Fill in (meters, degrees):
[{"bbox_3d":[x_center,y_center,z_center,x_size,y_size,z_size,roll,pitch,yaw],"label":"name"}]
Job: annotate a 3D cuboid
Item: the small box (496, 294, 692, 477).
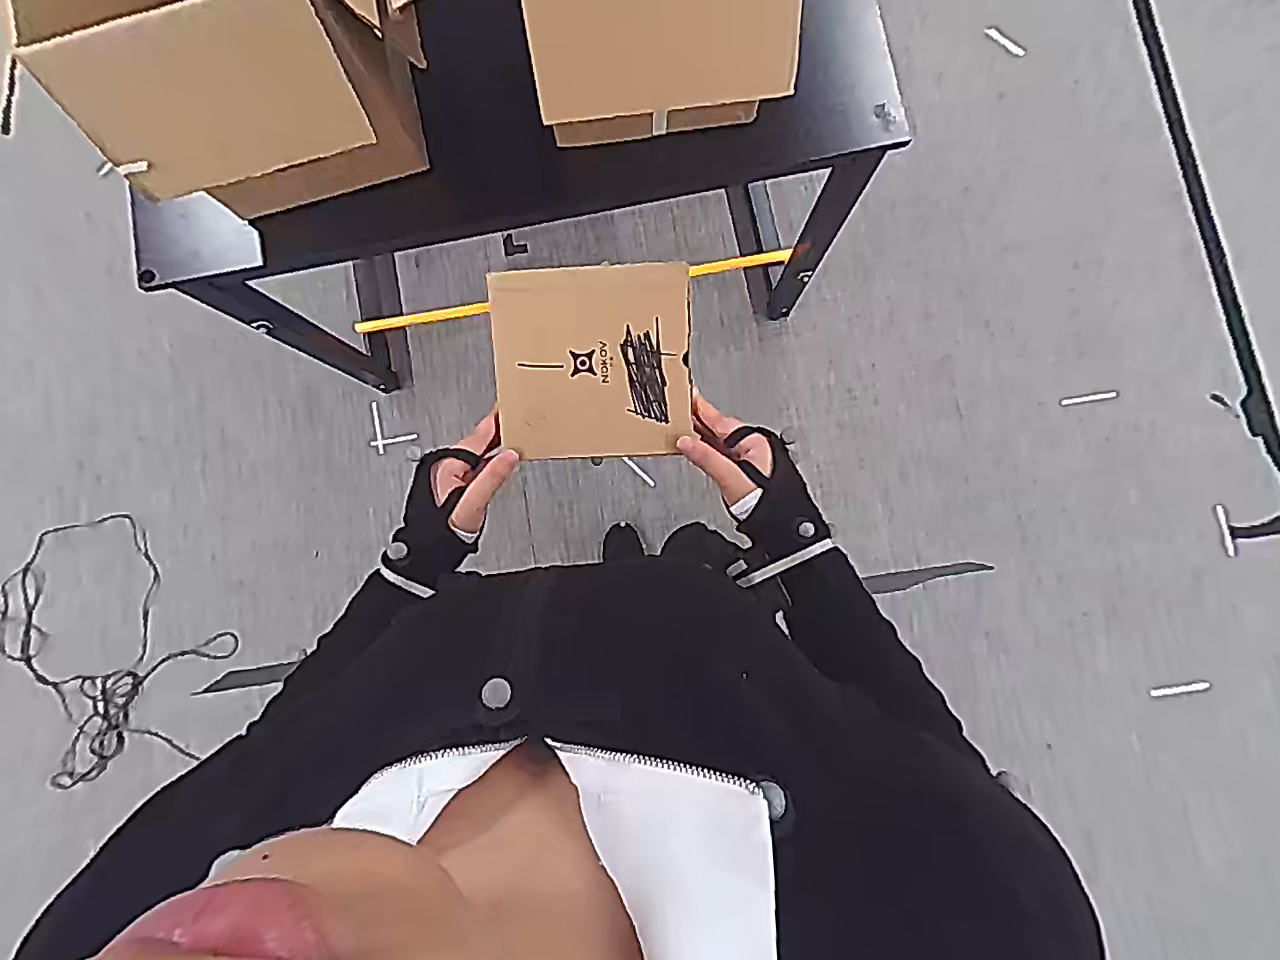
[{"bbox_3d":[-0.040,-0.097,0.573,0.179,0.176,0.168,-2,99,2],"label":"small box"}]
